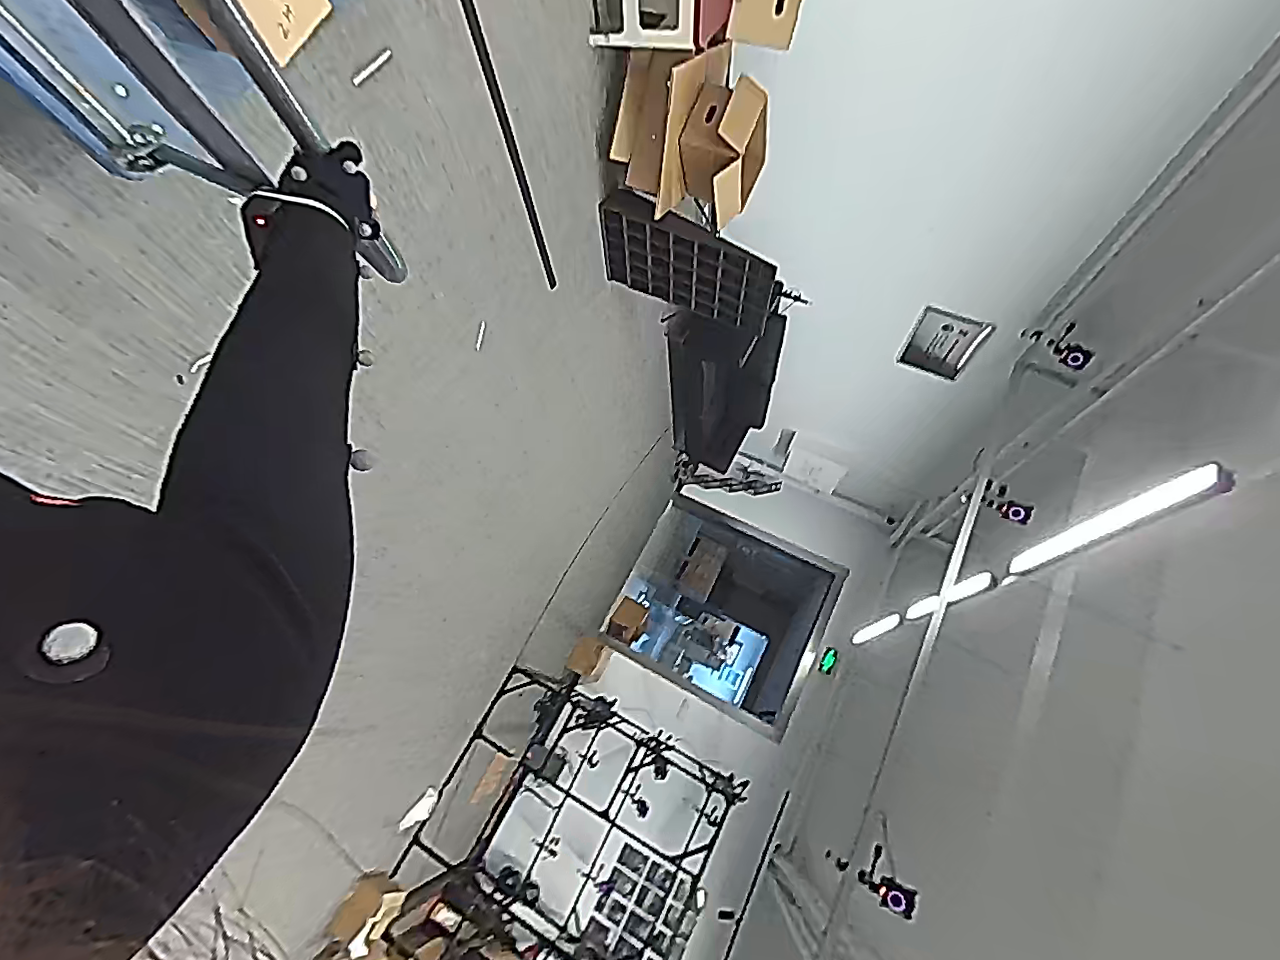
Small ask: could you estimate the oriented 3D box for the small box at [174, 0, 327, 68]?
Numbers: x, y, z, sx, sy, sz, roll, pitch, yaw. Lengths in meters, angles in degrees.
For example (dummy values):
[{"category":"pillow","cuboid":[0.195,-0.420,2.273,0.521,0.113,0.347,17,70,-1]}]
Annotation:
[{"category":"small box","cuboid":[-0.699,-0.863,0.926,0.168,0.176,0.179,-62,165,-12]}]
